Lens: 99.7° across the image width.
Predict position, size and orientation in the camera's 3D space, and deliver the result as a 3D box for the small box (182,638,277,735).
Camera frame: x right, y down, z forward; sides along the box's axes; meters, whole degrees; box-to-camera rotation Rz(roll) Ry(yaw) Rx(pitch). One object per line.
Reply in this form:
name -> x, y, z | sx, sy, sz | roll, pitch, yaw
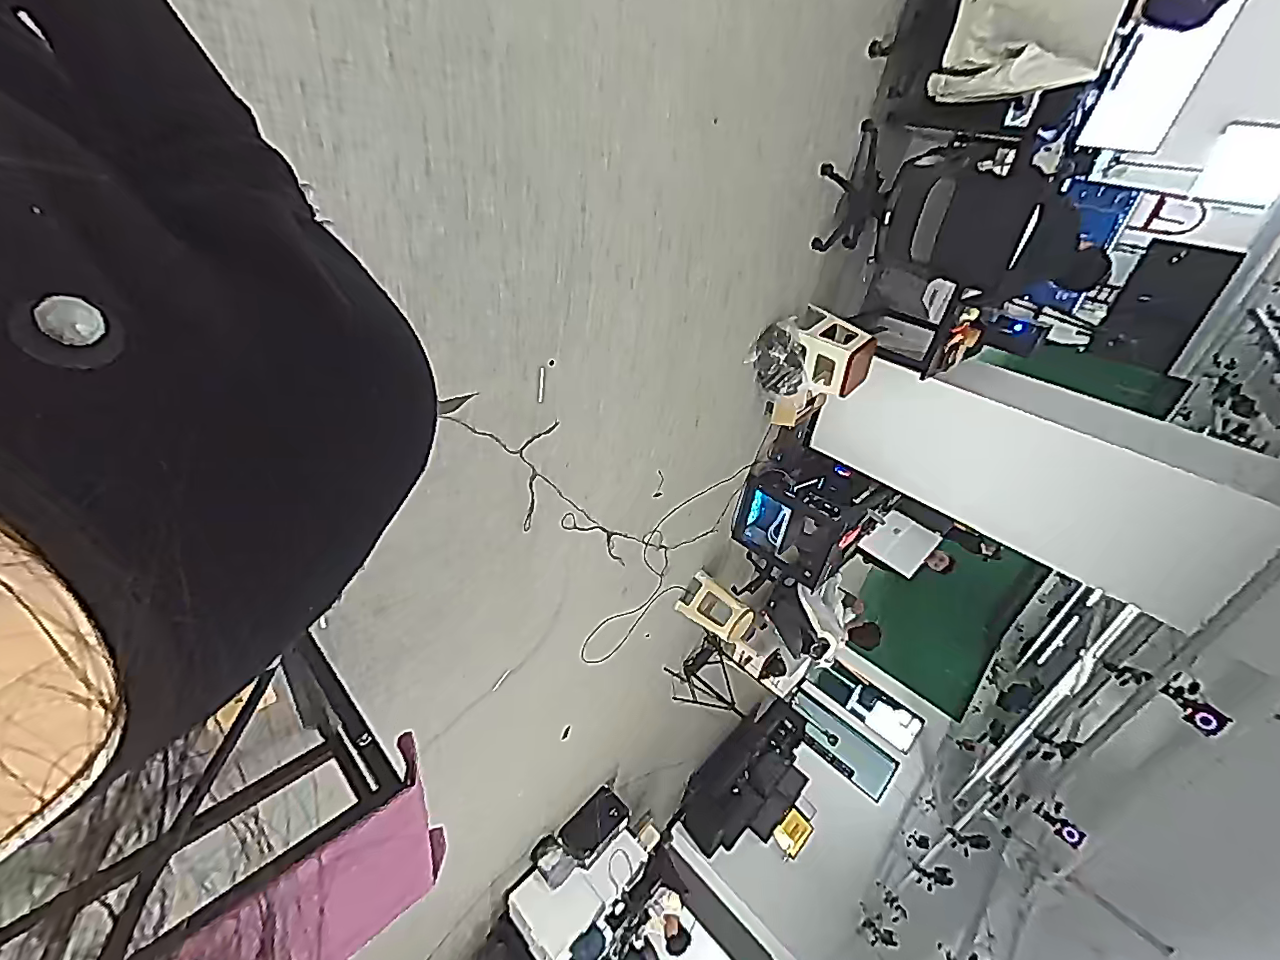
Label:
small box -> -1.191, 0.586, 1.569 | 0.168, 0.176, 0.179 | -23, 136, -42
